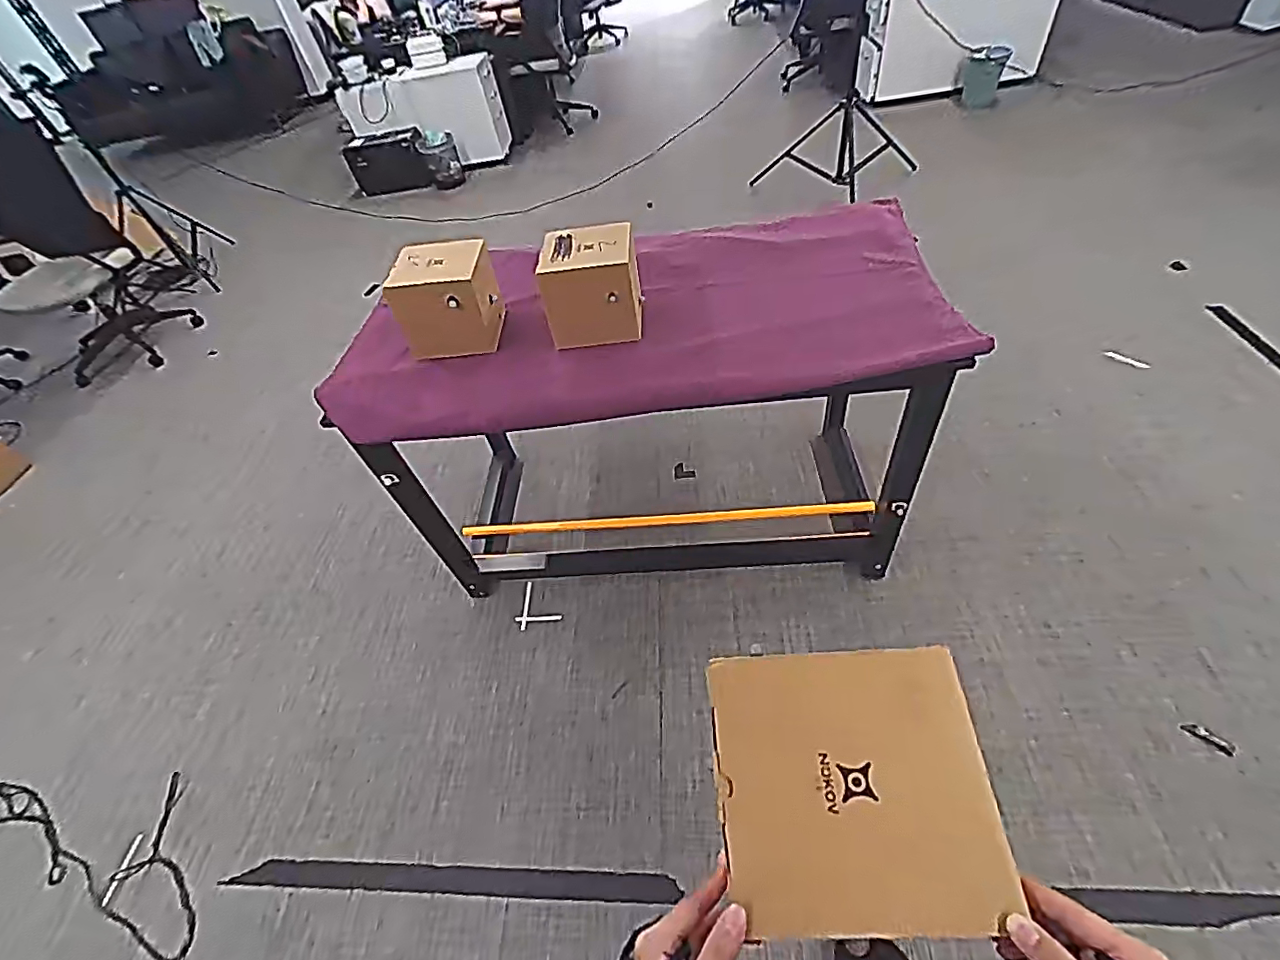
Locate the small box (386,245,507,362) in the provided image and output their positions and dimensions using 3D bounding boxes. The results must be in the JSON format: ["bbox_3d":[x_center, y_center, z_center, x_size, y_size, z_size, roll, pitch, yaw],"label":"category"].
[{"bbox_3d":[-0.392,-0.366,1.133,0.179,0.176,0.168,-5,48,3],"label":"small box"}]

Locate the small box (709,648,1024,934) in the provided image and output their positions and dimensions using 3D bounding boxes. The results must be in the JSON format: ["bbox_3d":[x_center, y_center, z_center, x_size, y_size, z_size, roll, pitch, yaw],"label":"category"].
[{"bbox_3d":[0.151,0.236,0.433,0.179,0.176,0.168,-7,62,7],"label":"small box"}]
